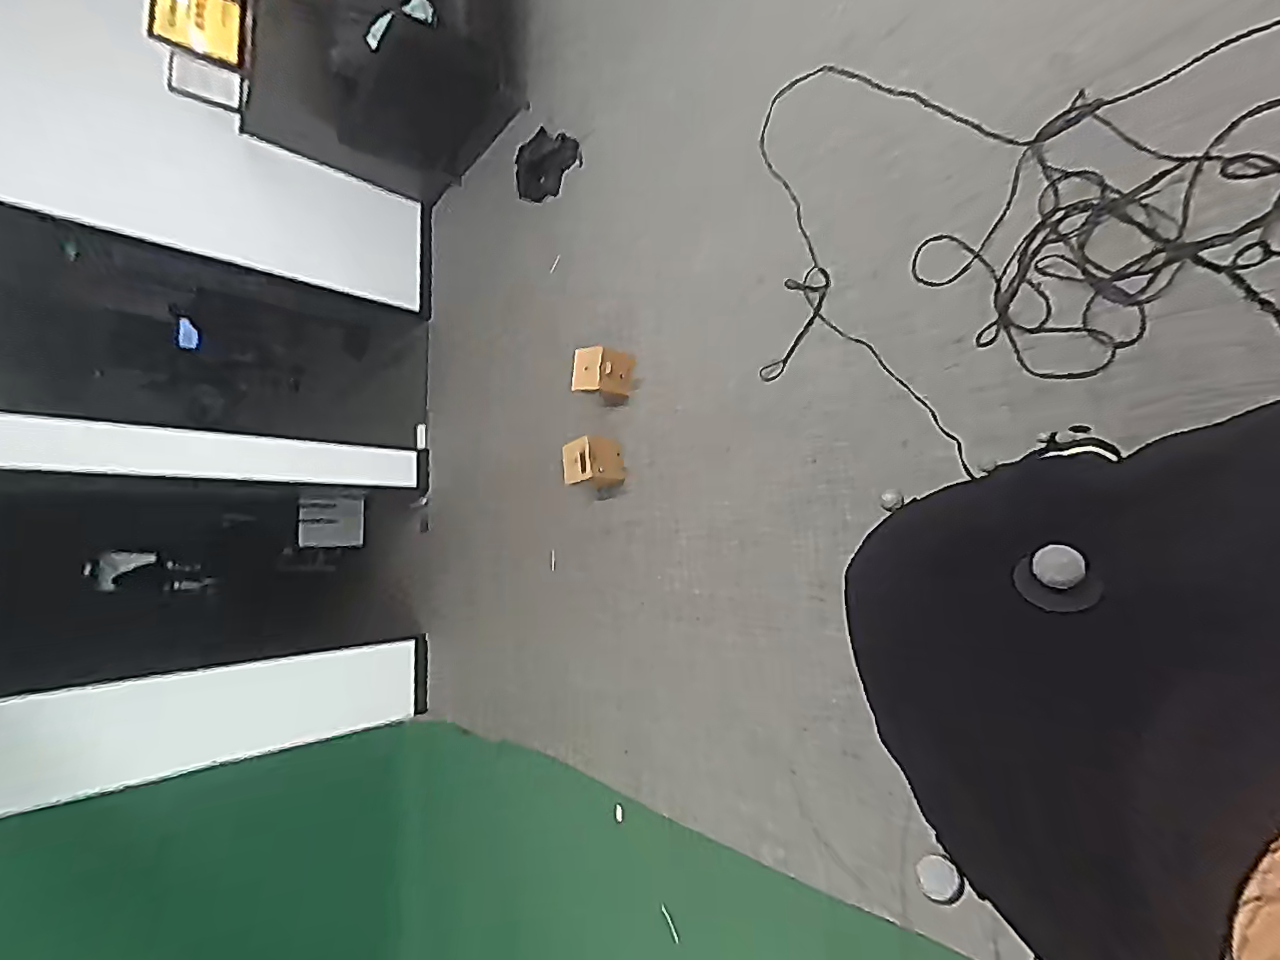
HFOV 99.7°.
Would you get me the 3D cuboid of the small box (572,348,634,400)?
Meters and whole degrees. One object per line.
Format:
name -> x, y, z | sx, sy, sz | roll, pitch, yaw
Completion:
small box -> -0.147, -0.414, 2.140 | 0.179, 0.176, 0.168 | 6, 91, 47
